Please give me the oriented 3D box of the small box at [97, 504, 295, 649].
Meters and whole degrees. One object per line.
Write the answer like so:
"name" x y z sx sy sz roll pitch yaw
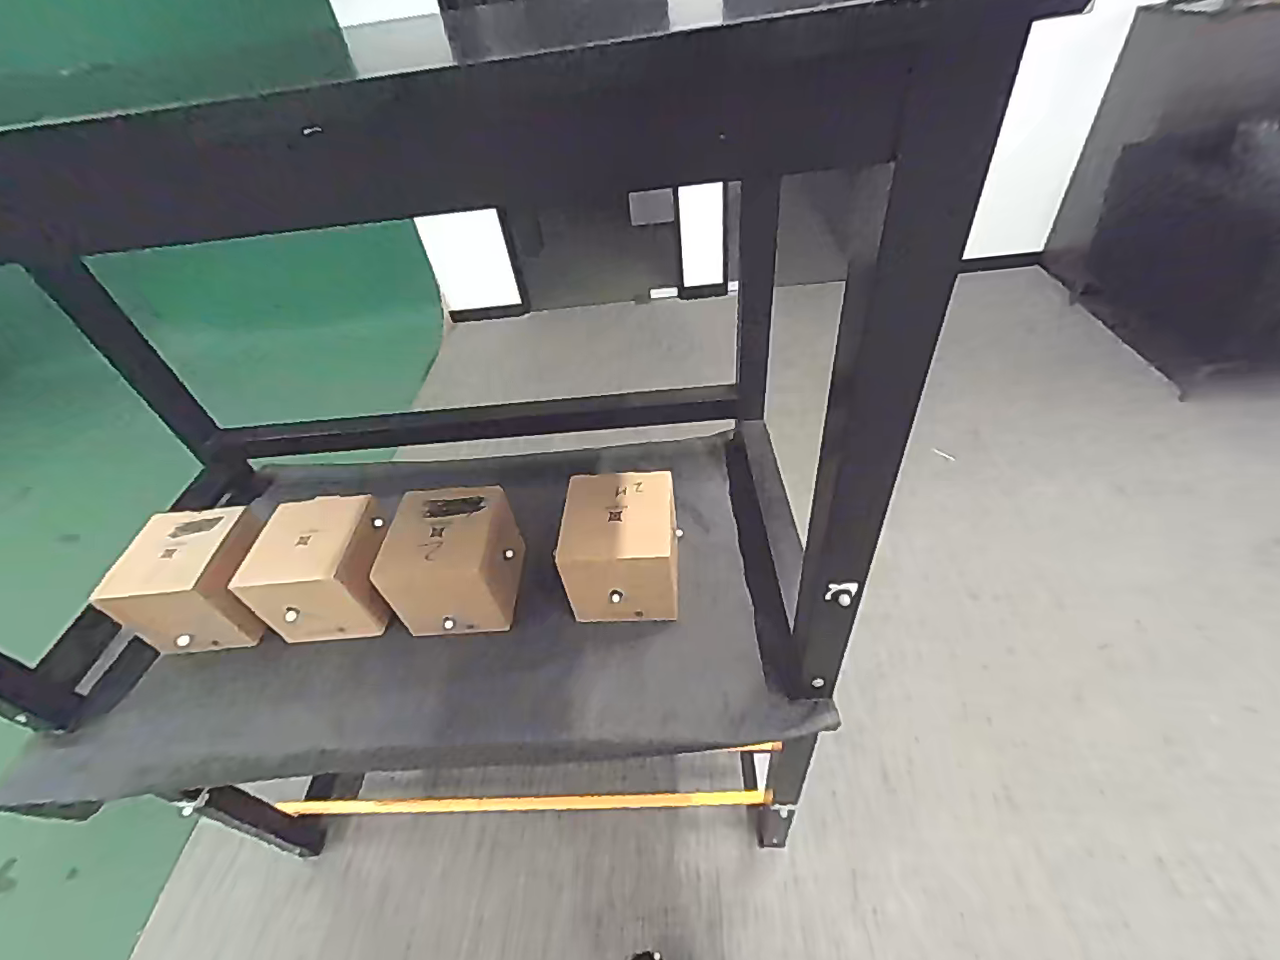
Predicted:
"small box" -0.734 0.165 0.925 0.168 0.176 0.179 -6 44 3

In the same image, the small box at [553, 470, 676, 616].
"small box" -0.029 0.105 0.871 0.168 0.176 0.179 -2 44 7
